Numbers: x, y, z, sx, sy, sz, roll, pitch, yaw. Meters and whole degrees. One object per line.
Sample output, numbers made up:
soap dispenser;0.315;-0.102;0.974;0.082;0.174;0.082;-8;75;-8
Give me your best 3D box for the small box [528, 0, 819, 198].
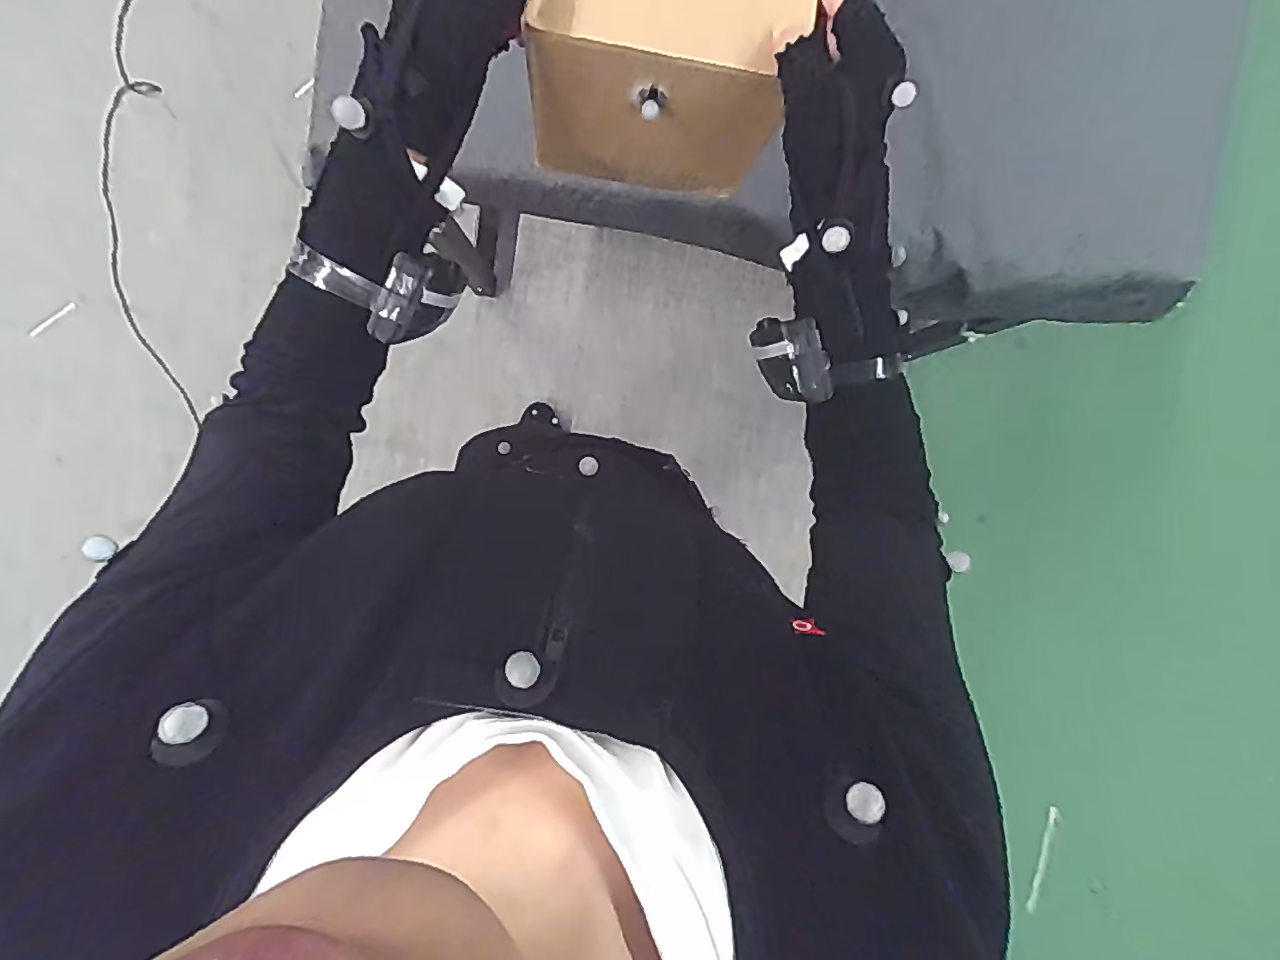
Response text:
small box;0.017;-0.335;0.399;0.179;0.176;0.168;5;94;-9
